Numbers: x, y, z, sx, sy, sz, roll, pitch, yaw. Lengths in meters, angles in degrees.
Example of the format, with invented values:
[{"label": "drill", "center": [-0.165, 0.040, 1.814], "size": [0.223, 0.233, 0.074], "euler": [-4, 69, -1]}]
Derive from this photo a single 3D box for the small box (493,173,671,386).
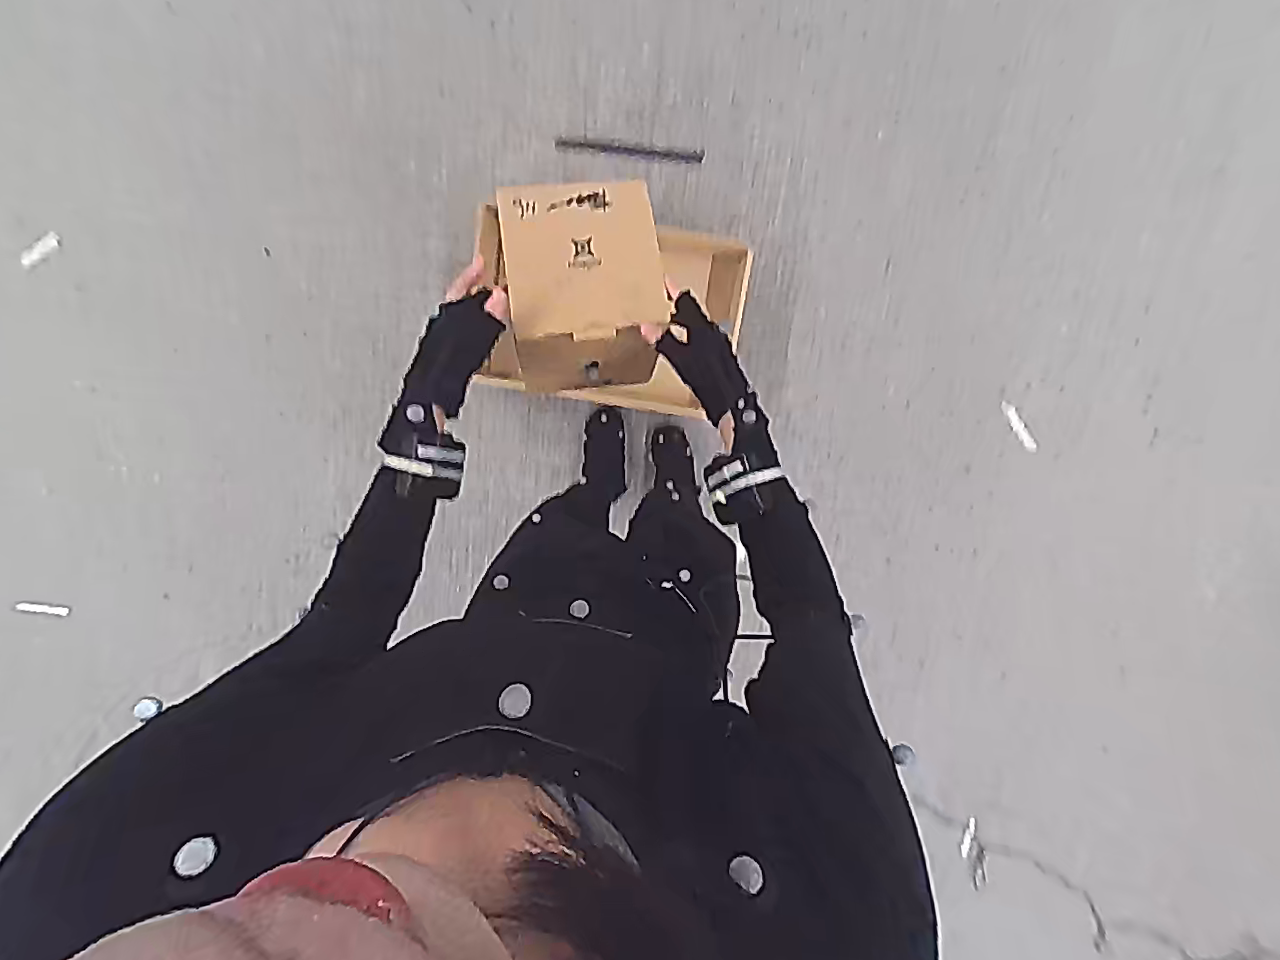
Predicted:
[{"label": "small box", "center": [-0.067, -0.217, 0.628], "size": [0.168, 0.176, 0.179], "euler": [-8, 82, -8]}]
